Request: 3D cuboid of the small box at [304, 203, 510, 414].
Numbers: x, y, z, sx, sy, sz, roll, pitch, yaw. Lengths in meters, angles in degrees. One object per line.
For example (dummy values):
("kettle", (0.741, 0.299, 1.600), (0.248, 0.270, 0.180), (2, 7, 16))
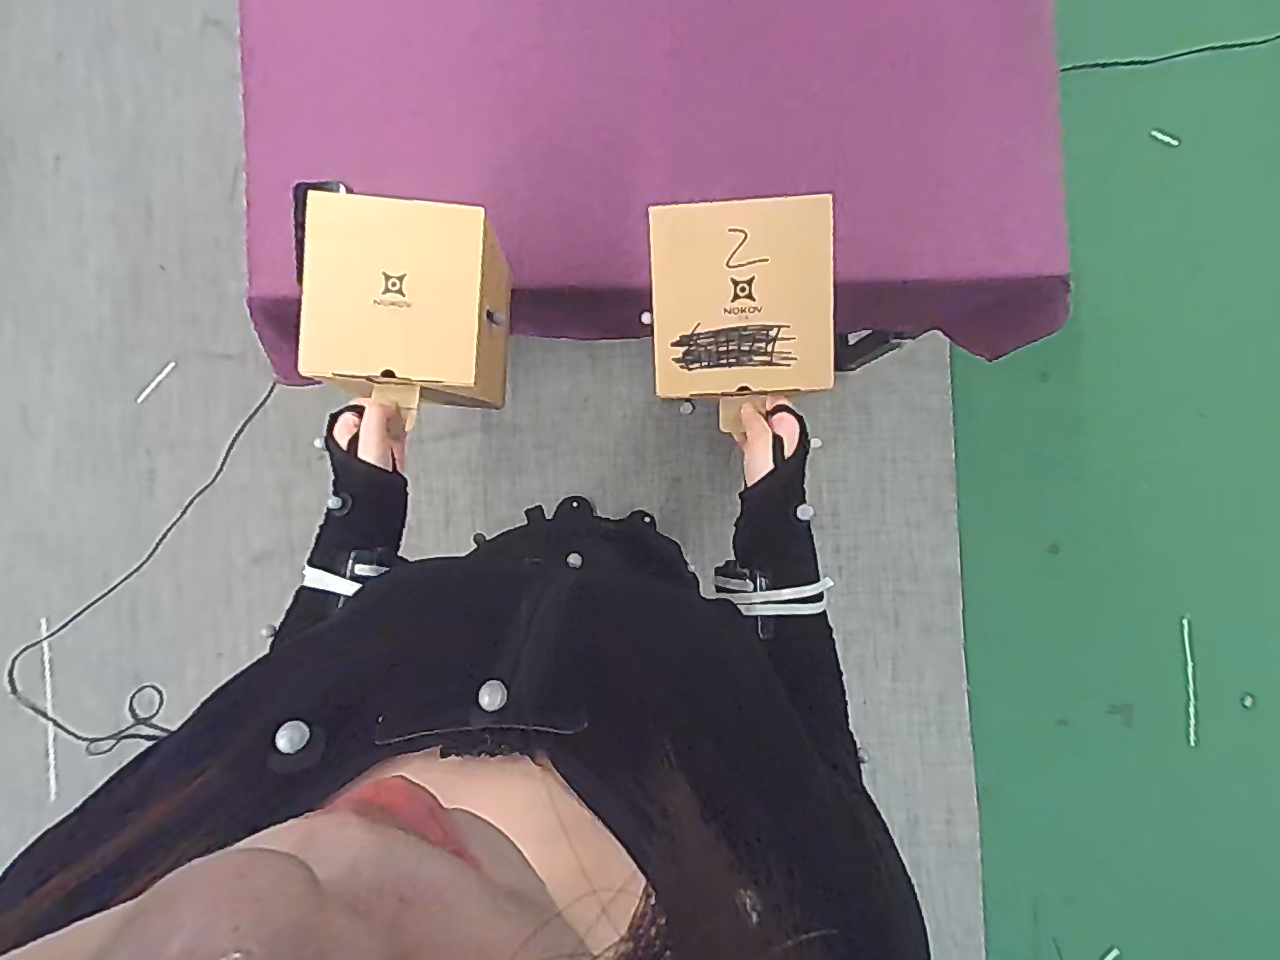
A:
("small box", (-0.244, -0.176, 0.607), (0.168, 0.176, 0.179), (3, 90, -5))
